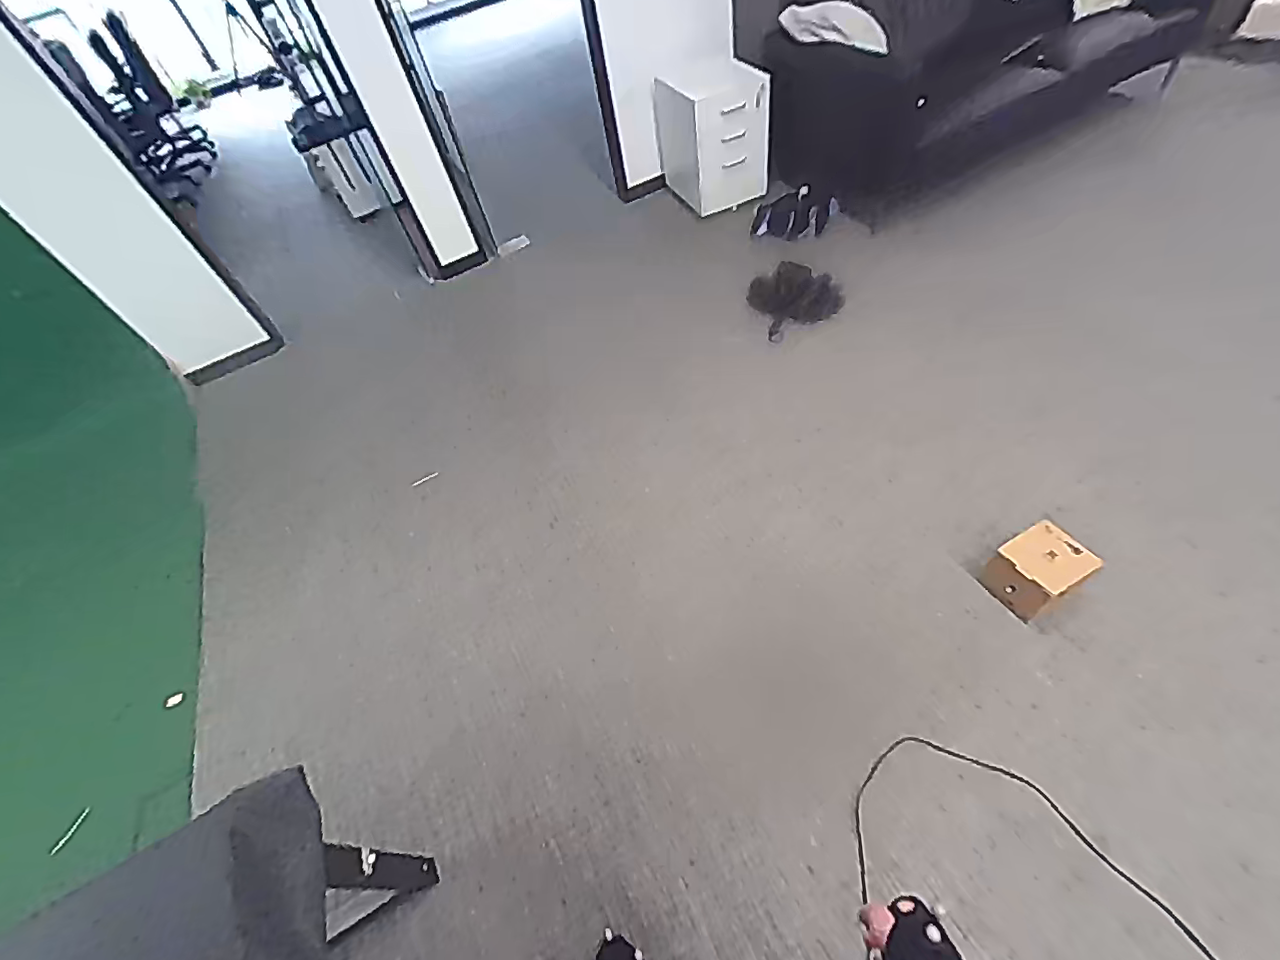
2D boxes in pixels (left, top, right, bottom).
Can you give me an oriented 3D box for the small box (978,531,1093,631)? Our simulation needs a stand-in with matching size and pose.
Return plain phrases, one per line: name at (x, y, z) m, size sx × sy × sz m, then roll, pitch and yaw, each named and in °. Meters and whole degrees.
small box at (1.056, 0.278, 1.466) m, size 0.179 × 0.176 × 0.168 m, roll -28°, pitch 50°, yaw -11°
